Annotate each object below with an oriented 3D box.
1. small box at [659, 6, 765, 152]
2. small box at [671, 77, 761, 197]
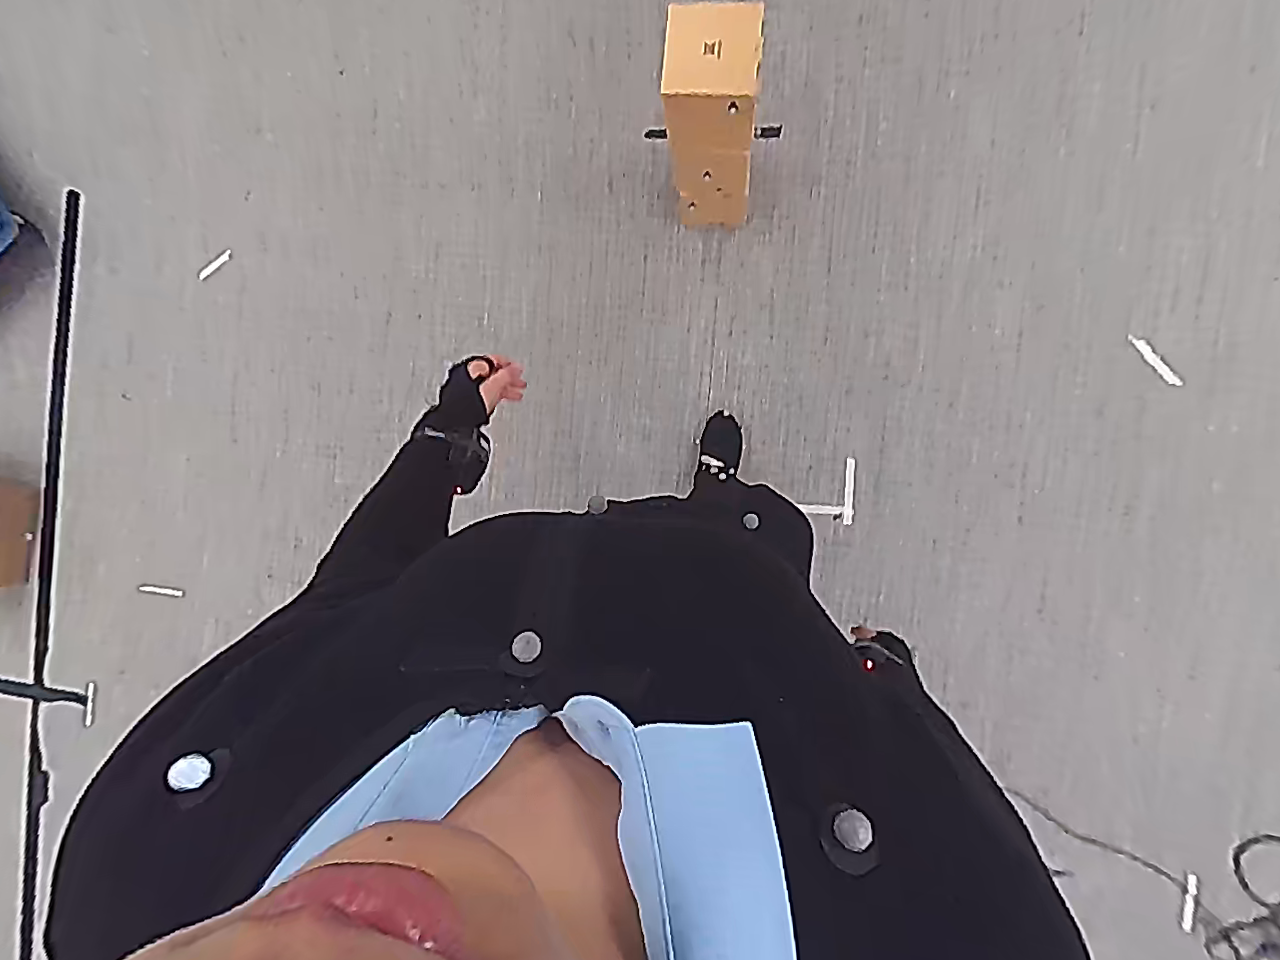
[{"bbox_3d":[0.139,-0.769,1.053,0.179,0.176,0.168,6,91,7],"label":"small box"},{"bbox_3d":[0.170,-0.765,1.213,0.168,0.176,0.179,10,91,7],"label":"small box"}]
